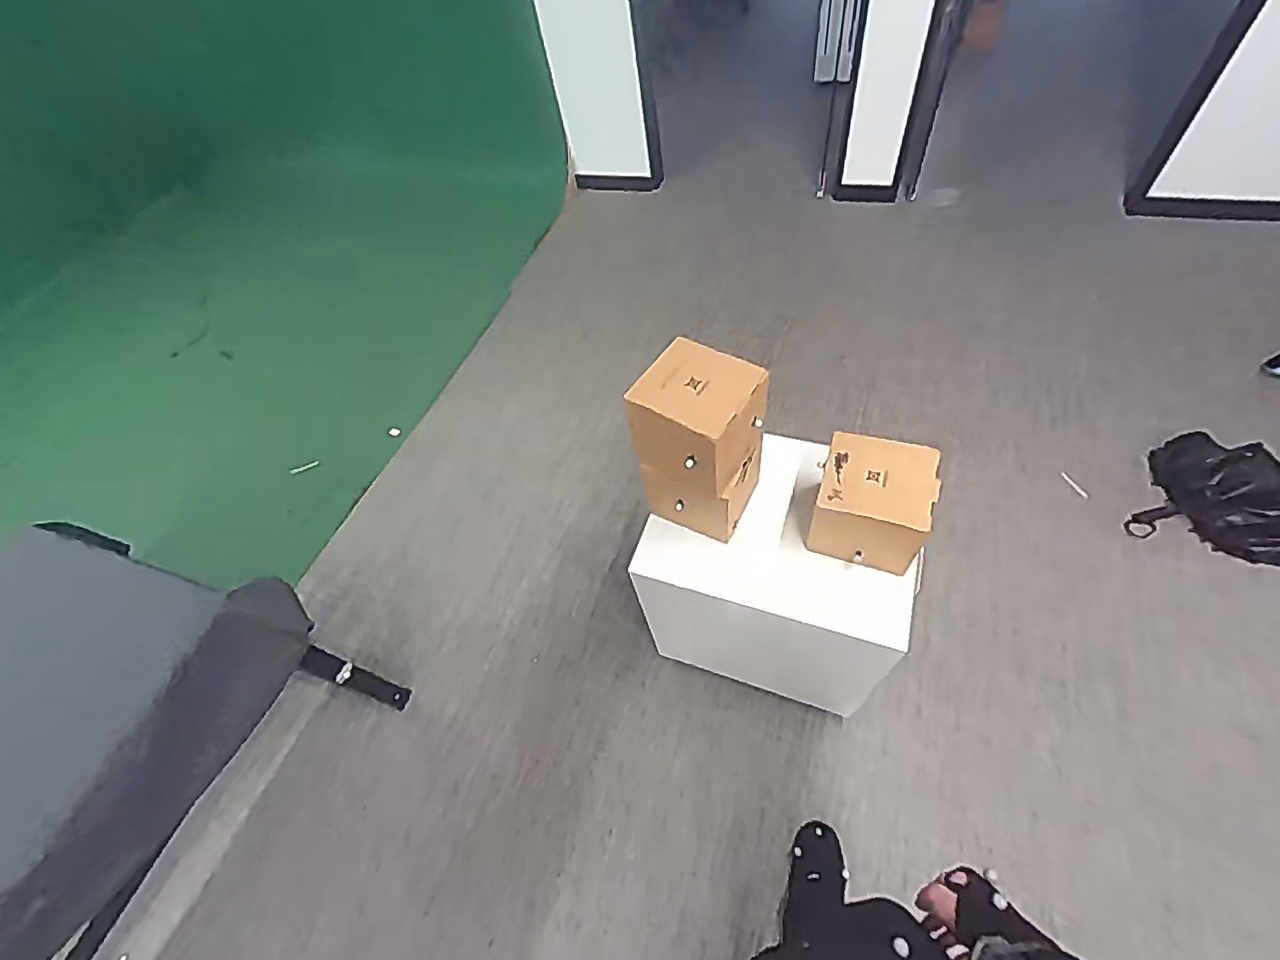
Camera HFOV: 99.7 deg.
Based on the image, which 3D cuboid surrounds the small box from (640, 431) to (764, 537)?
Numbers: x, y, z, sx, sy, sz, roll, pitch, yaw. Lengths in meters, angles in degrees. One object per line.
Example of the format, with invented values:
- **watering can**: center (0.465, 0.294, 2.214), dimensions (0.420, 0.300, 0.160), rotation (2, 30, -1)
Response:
- **small box**: center (0.121, -0.012, 1.040), dimensions (0.179, 0.176, 0.168), rotation (22, 60, 21)

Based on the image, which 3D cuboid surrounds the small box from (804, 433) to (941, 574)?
- **small box**: center (0.405, 0.047, 0.961), dimensions (0.179, 0.176, 0.168), rotation (15, 59, 18)

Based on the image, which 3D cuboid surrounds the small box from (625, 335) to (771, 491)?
- **small box**: center (0.099, -0.107, 0.911), dimensions (0.179, 0.176, 0.168), rotation (28, 61, 24)
